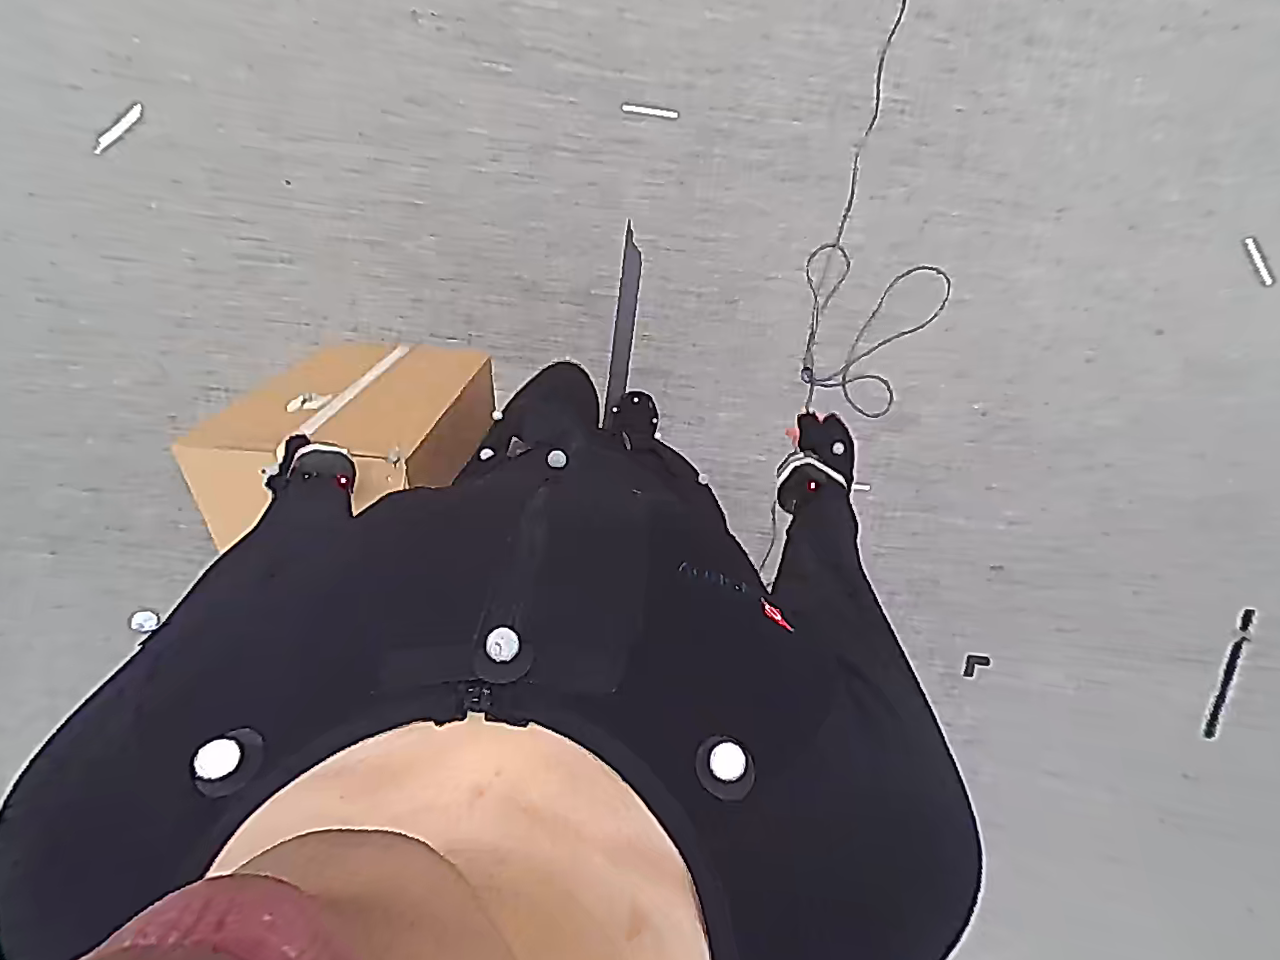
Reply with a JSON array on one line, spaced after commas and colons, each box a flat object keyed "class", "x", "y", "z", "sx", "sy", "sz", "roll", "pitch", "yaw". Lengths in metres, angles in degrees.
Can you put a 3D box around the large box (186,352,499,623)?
[{"class": "large box", "x": -0.460, "y": -0.007, "z": 0.966, "sx": 0.320, "sy": 0.408, "sz": 0.320, "roll": 2, "pitch": 123, "yaw": 1}]
